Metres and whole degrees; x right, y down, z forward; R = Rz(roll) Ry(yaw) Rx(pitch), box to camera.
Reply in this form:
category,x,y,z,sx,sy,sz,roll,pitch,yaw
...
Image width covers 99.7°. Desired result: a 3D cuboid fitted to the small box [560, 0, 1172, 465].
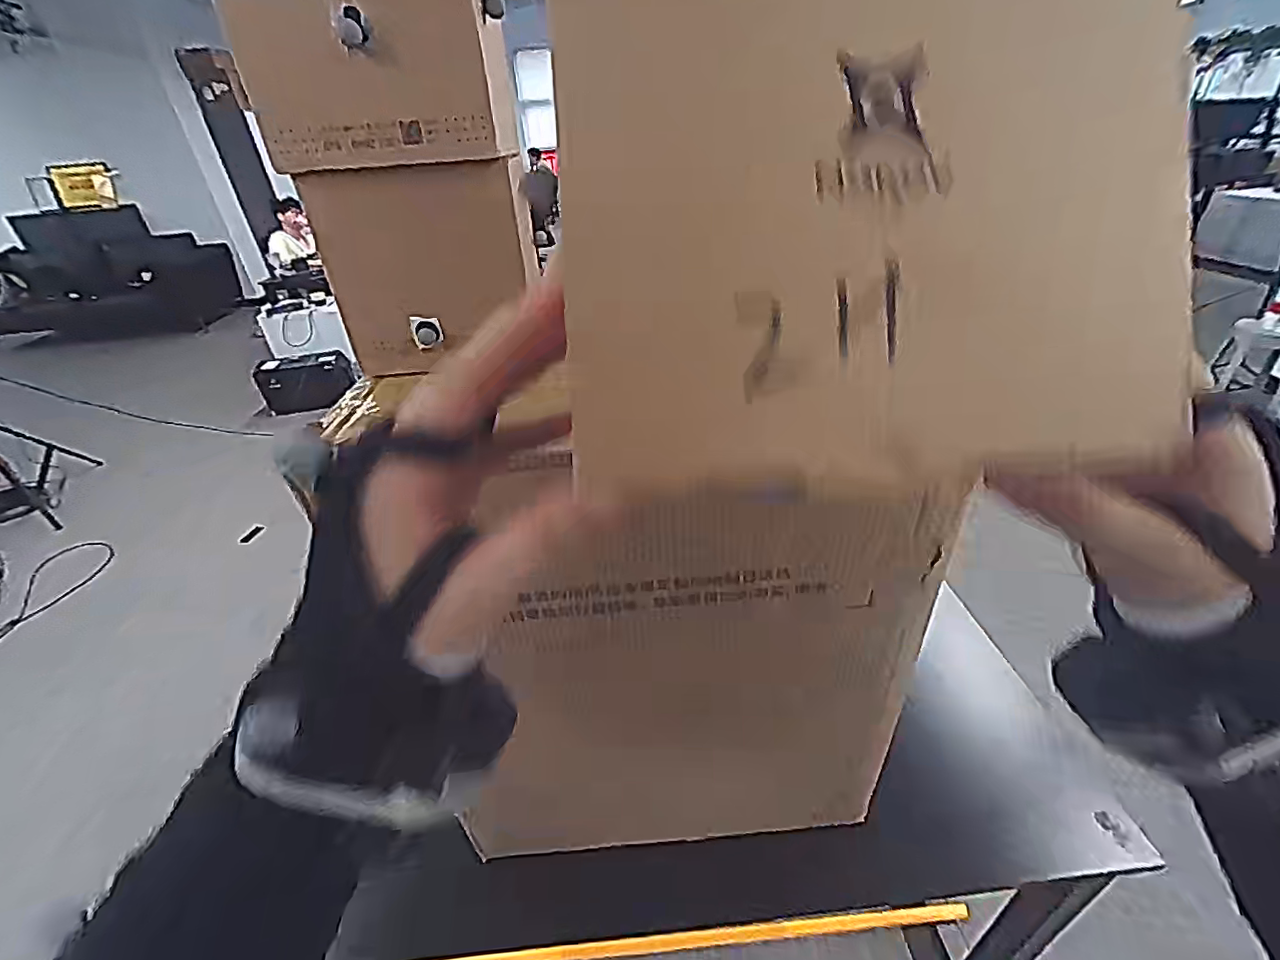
category,x,y,z,sx,sy,sz,roll,pitch,yaw
small box,0.057,-0.100,0.226,0.168,0.179,0.176,-4,1,-2

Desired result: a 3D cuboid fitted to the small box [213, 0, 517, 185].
category,x,y,z,sx,sy,sz,roll,pitch,yaw
small box,-0.199,-0.337,0.430,0.168,0.176,0.179,-7,33,-3

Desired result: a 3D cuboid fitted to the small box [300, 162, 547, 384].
category,x,y,z,sx,sy,sz,roll,pitch,yaw
small box,-0.187,-0.208,0.532,0.168,0.176,0.179,-8,34,-5
